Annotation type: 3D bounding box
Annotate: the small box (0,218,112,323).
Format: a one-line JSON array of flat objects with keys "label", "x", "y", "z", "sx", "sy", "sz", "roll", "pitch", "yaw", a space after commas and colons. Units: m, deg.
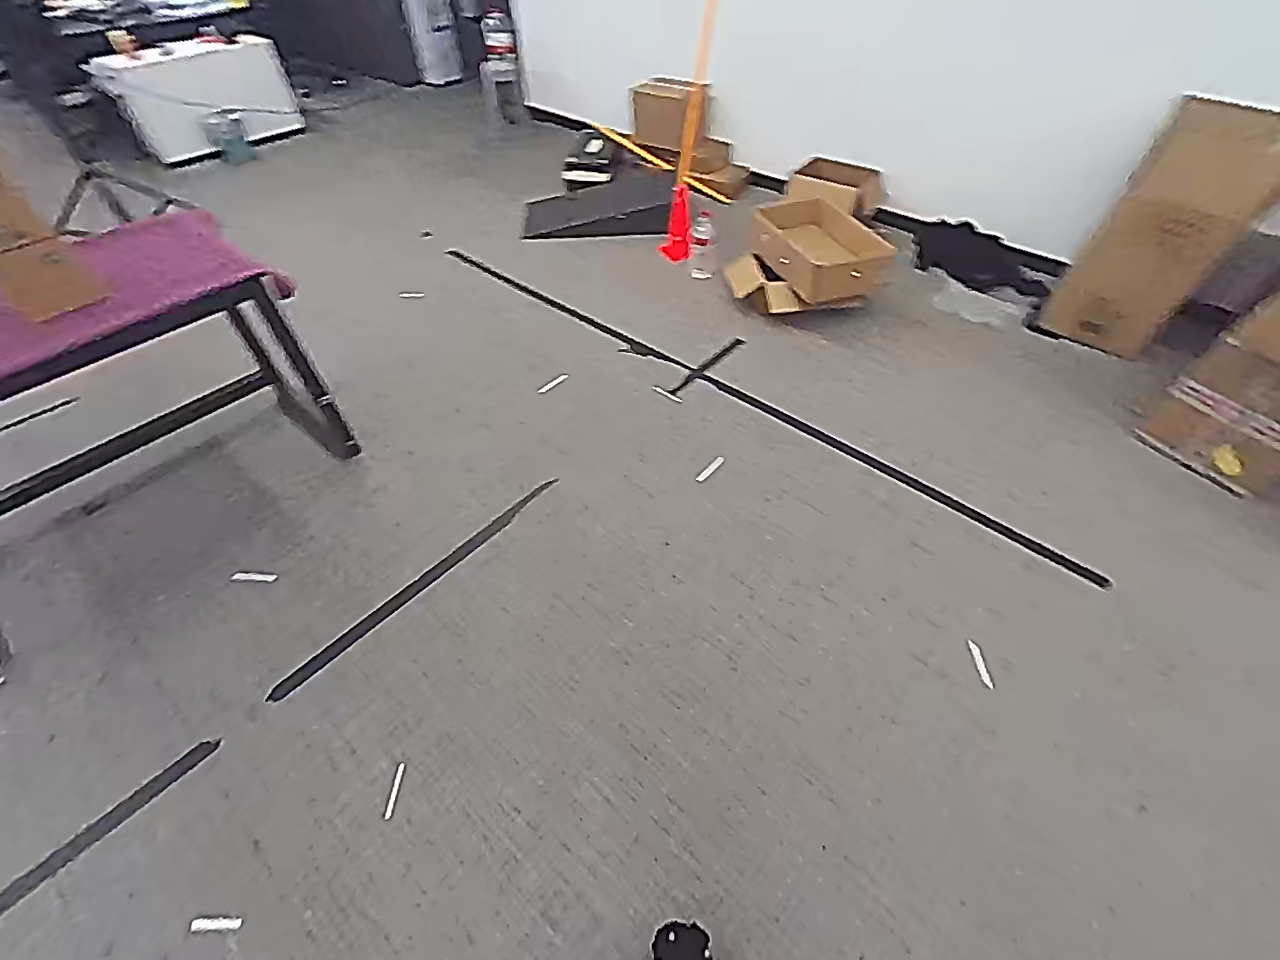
[{"label": "small box", "x": -1.503, "y": -0.530, "z": 1.369, "sx": 0.168, "sy": 0.176, "sz": 0.179, "roll": 32, "pitch": 57, "yaw": 26}]
